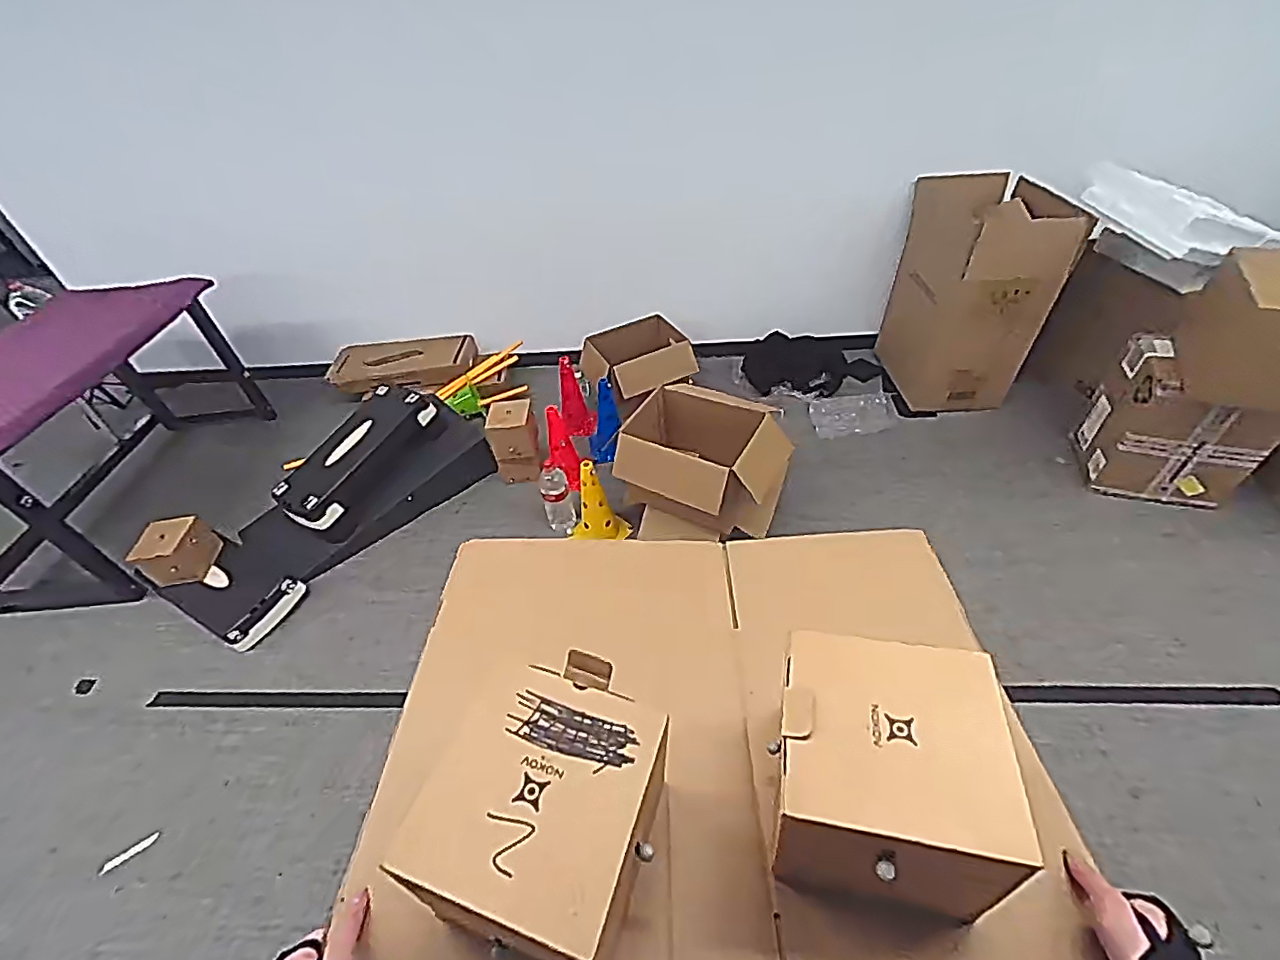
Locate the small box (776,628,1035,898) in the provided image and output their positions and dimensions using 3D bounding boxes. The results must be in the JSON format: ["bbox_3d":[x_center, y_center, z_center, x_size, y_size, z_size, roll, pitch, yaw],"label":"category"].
[{"bbox_3d":[0.225,0.265,0.511,0.179,0.176,0.168,3,43,15],"label":"small box"}]
